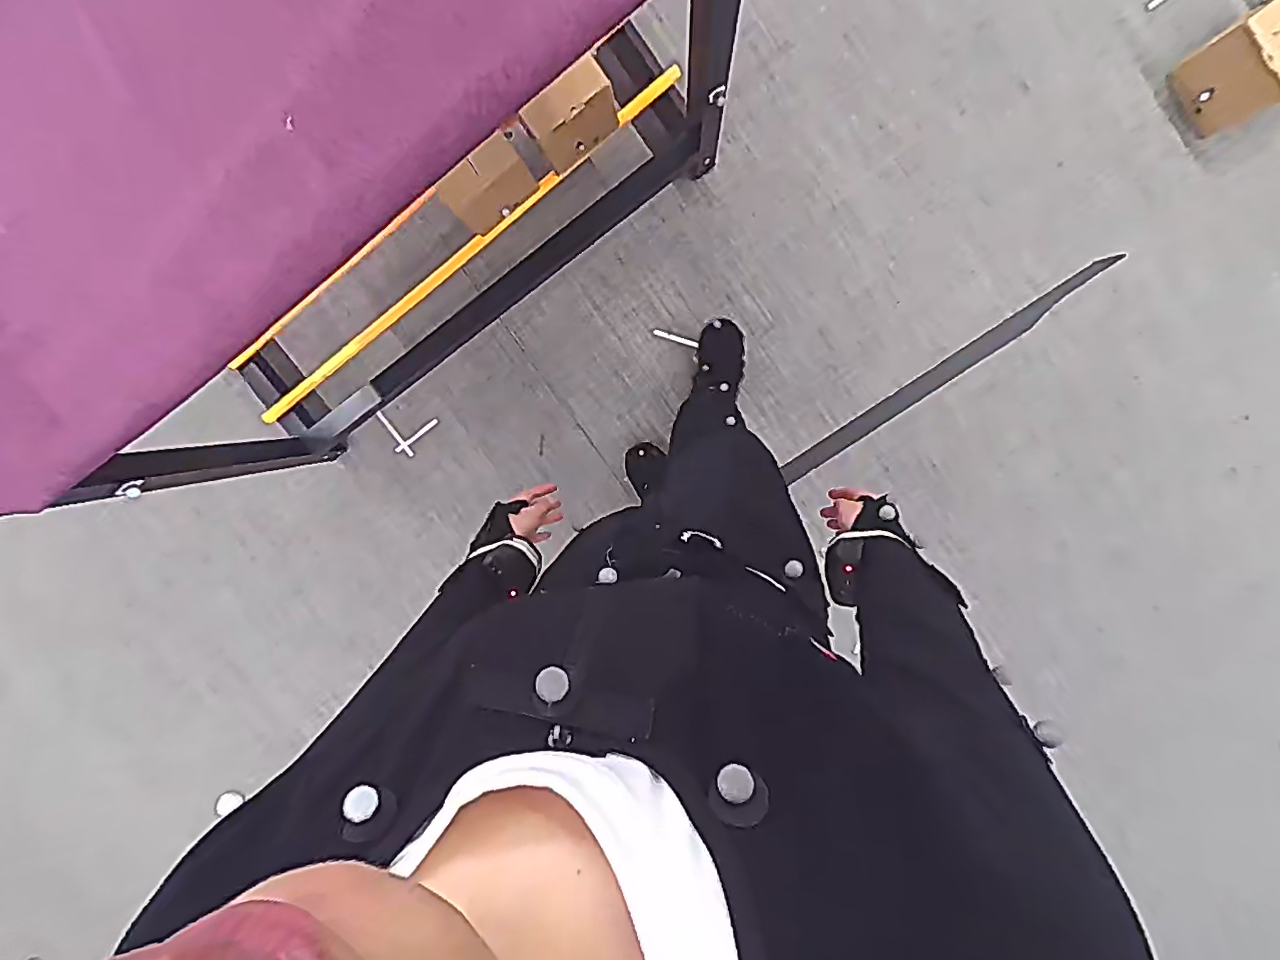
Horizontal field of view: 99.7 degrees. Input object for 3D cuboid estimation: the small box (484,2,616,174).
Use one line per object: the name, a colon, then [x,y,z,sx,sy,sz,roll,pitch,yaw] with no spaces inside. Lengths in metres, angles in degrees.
small box: [-0.165,-0.743,1.049,0.168,0.176,0.179,-36,96,8]

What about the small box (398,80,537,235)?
small box: [-0.333,-0.625,1.077,0.168,0.176,0.179,-36,97,8]
